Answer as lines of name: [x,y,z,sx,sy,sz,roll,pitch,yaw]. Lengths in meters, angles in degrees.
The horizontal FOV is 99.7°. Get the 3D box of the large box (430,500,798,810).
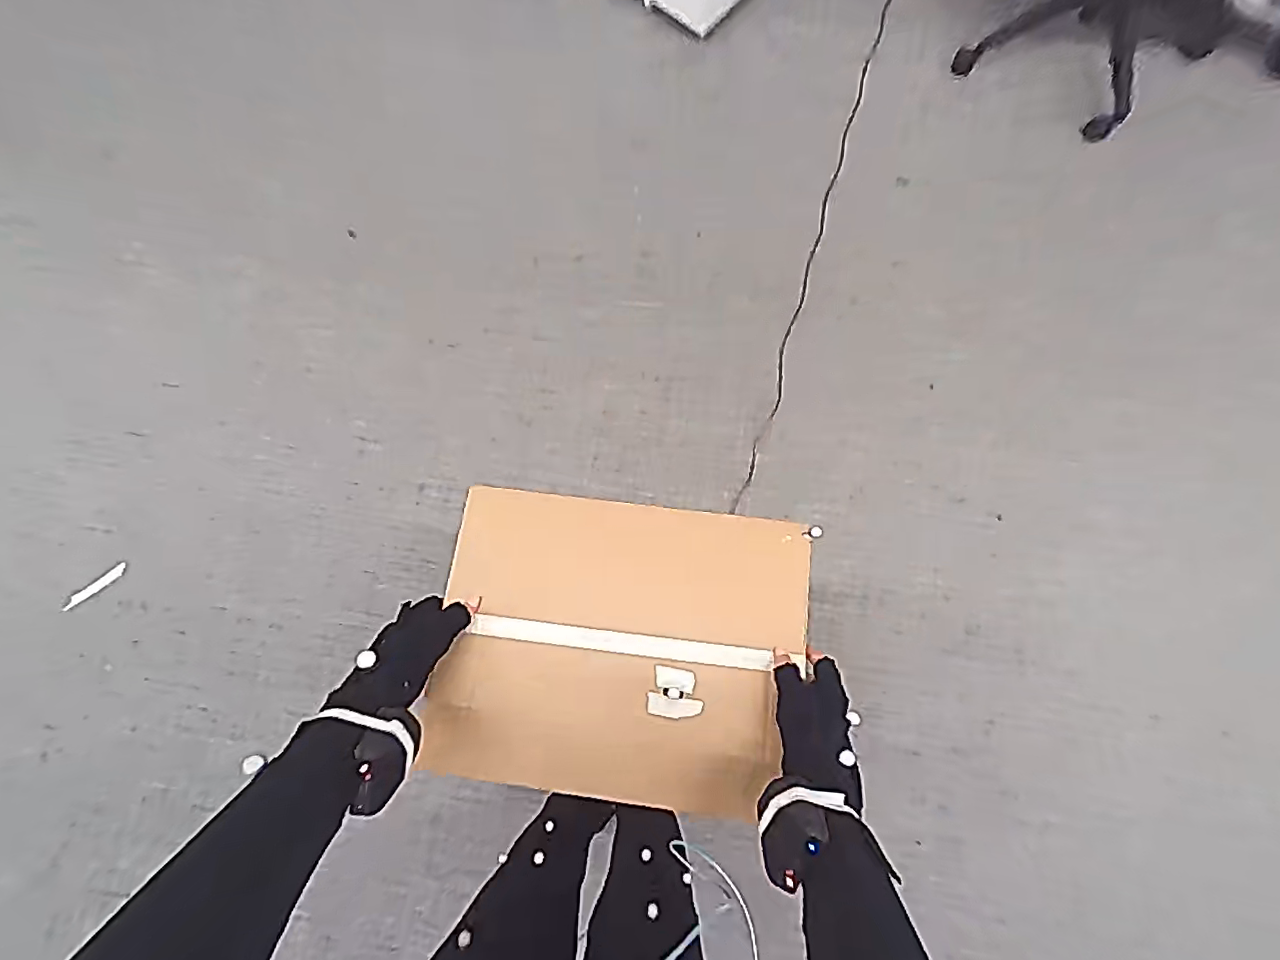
large box: [-0.019,0.230,0.767,0.408,0.320,0.320,6,75,3]
